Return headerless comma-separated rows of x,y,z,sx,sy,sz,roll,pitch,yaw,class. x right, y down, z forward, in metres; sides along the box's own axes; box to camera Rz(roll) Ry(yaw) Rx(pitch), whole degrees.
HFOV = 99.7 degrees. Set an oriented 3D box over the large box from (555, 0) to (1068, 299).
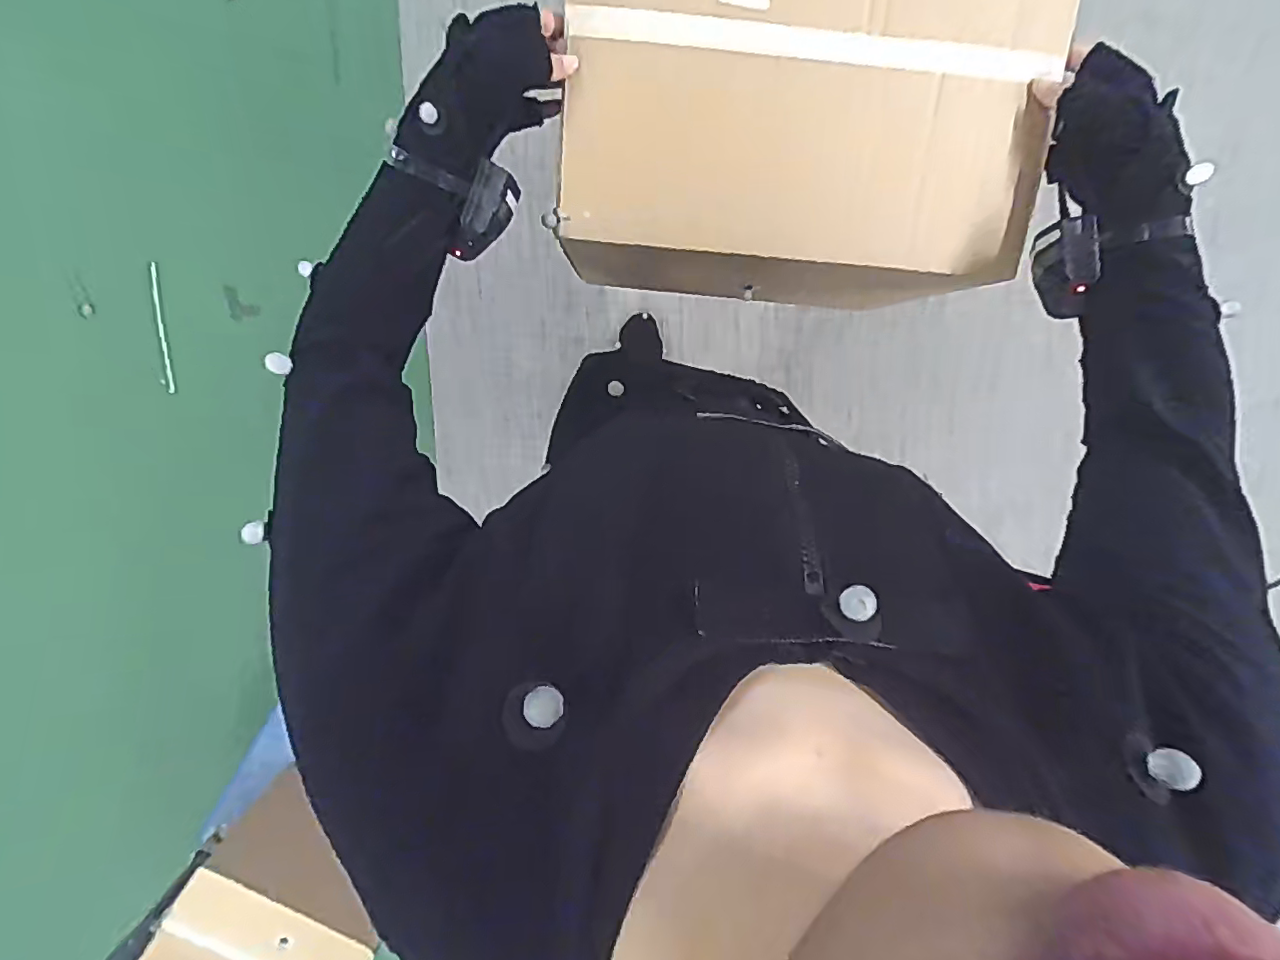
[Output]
0.136,-0.378,0.579,0.408,0.320,0.320,5,102,-2,large box
